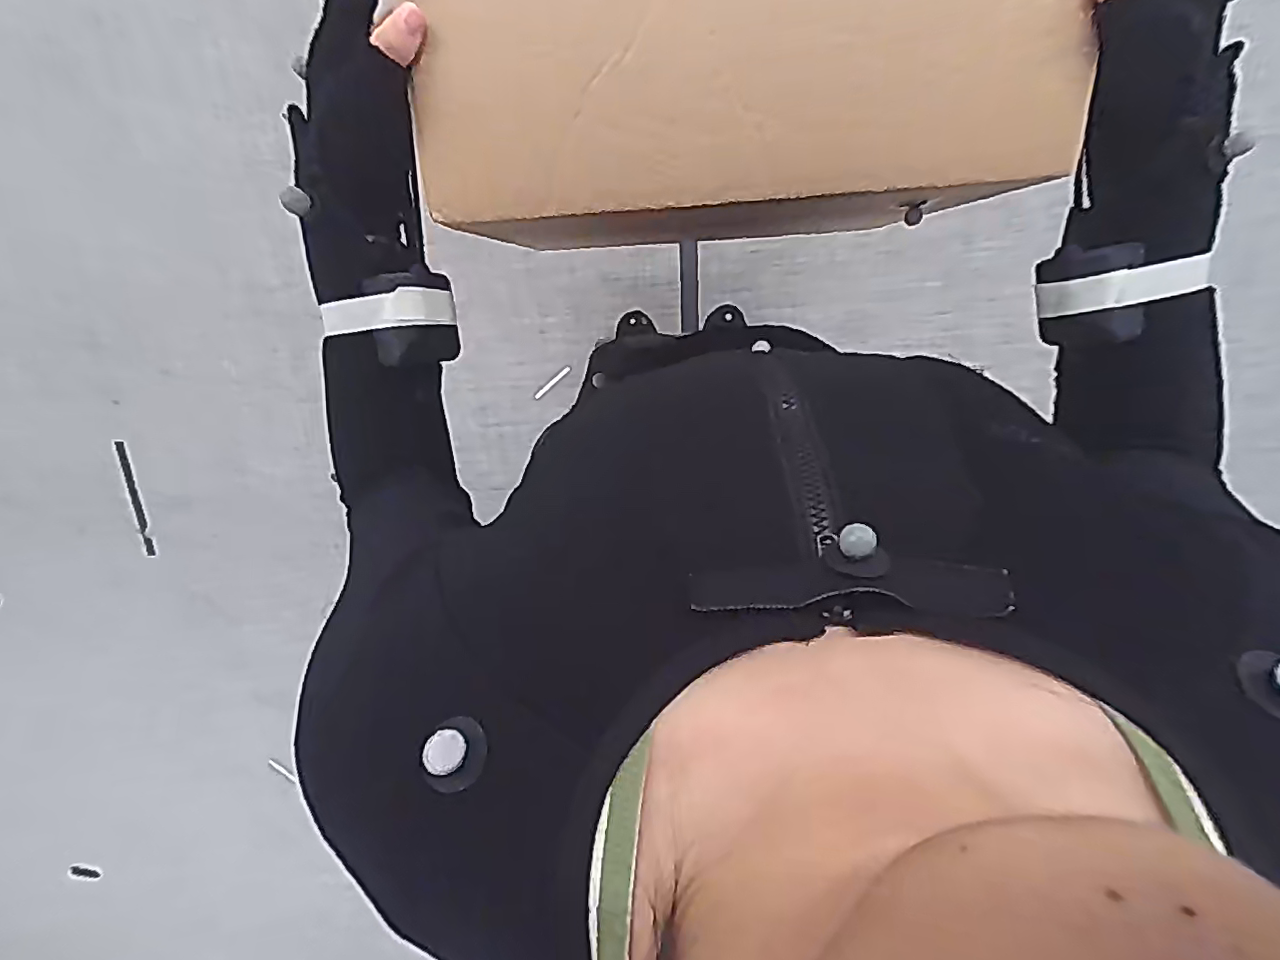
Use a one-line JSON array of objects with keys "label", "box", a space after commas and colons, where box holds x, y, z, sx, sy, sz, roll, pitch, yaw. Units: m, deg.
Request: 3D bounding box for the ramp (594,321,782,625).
[{"label": "ramp", "box": [0.158, 0.043, 1.622, 0.509, 0.206, 0.991, -4, 107, 3]}]

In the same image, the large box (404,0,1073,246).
[{"label": "large box", "box": [0.059, -0.380, 0.444, 0.408, 0.320, 0.320, -3, 109, 3]}]
